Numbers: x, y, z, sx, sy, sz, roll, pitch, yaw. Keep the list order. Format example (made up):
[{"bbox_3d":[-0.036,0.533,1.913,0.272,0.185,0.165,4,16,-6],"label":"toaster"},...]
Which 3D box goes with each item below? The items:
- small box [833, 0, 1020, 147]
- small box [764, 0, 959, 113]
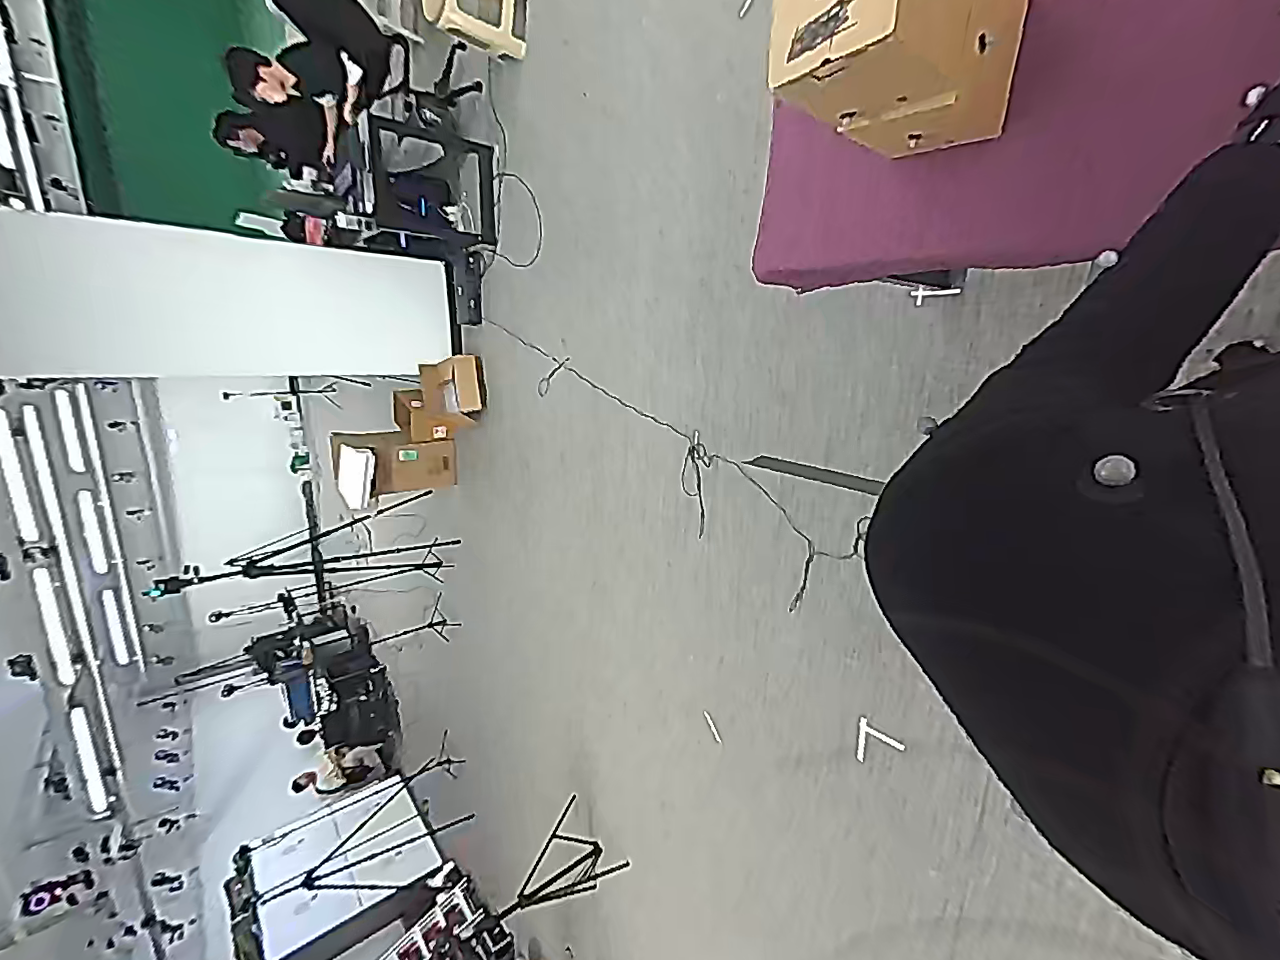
[{"bbox_3d":[0.400,-0.588,0.758,0.168,0.176,0.179,21,114,46],"label":"small box"},{"bbox_3d":[0.272,-0.576,0.655,0.168,0.176,0.179,16,110,48],"label":"small box"}]
